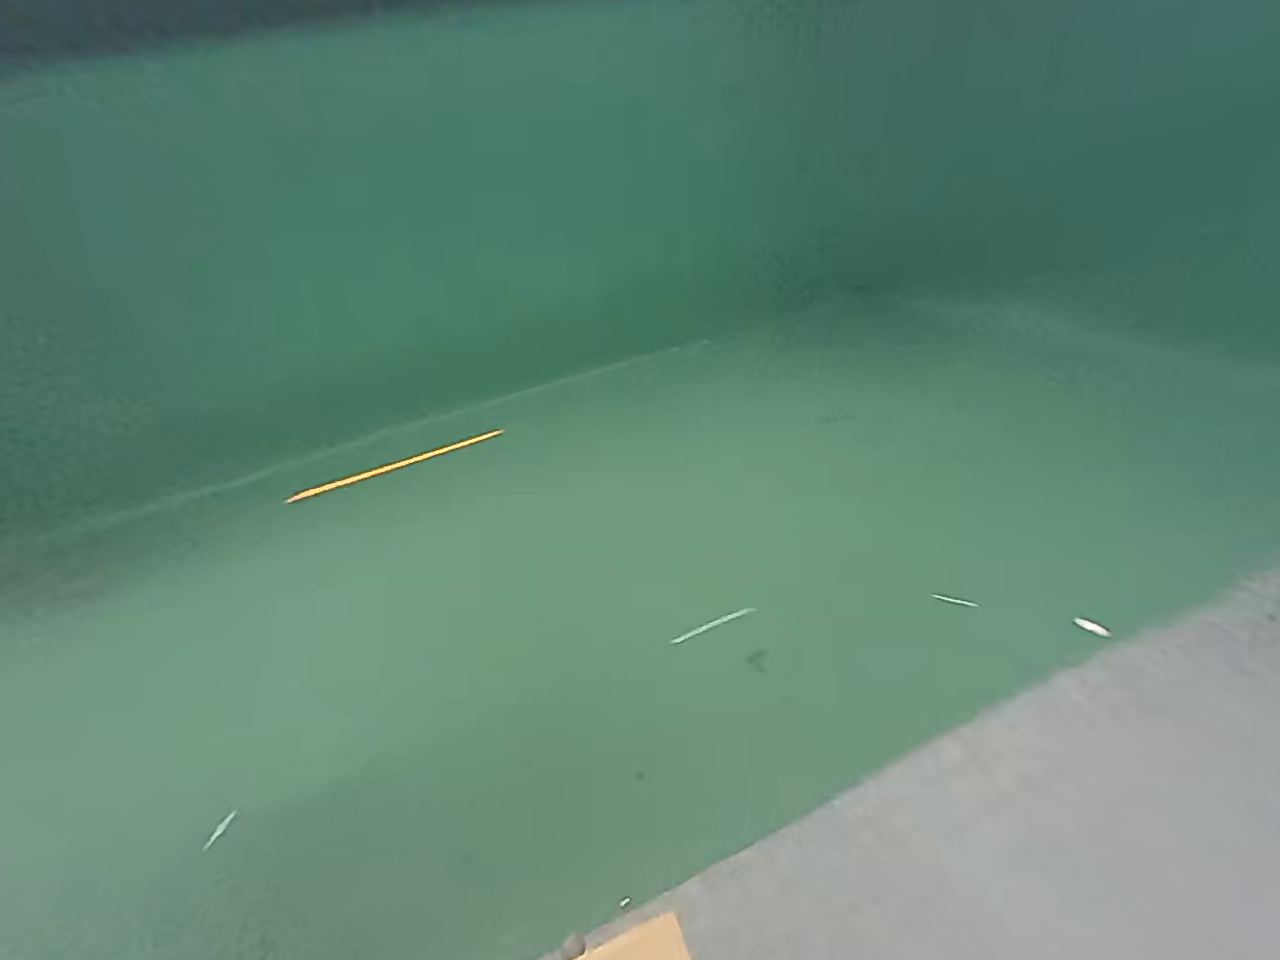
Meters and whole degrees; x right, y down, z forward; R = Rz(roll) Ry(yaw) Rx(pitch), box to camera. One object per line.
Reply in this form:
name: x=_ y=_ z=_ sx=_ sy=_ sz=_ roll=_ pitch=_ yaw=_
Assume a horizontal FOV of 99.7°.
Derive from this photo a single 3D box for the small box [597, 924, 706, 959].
small box: x=-0.022 y=0.372 z=0.280 sx=0.168 sy=0.176 sz=0.179 roll=-15 pitch=51 yaw=-13
